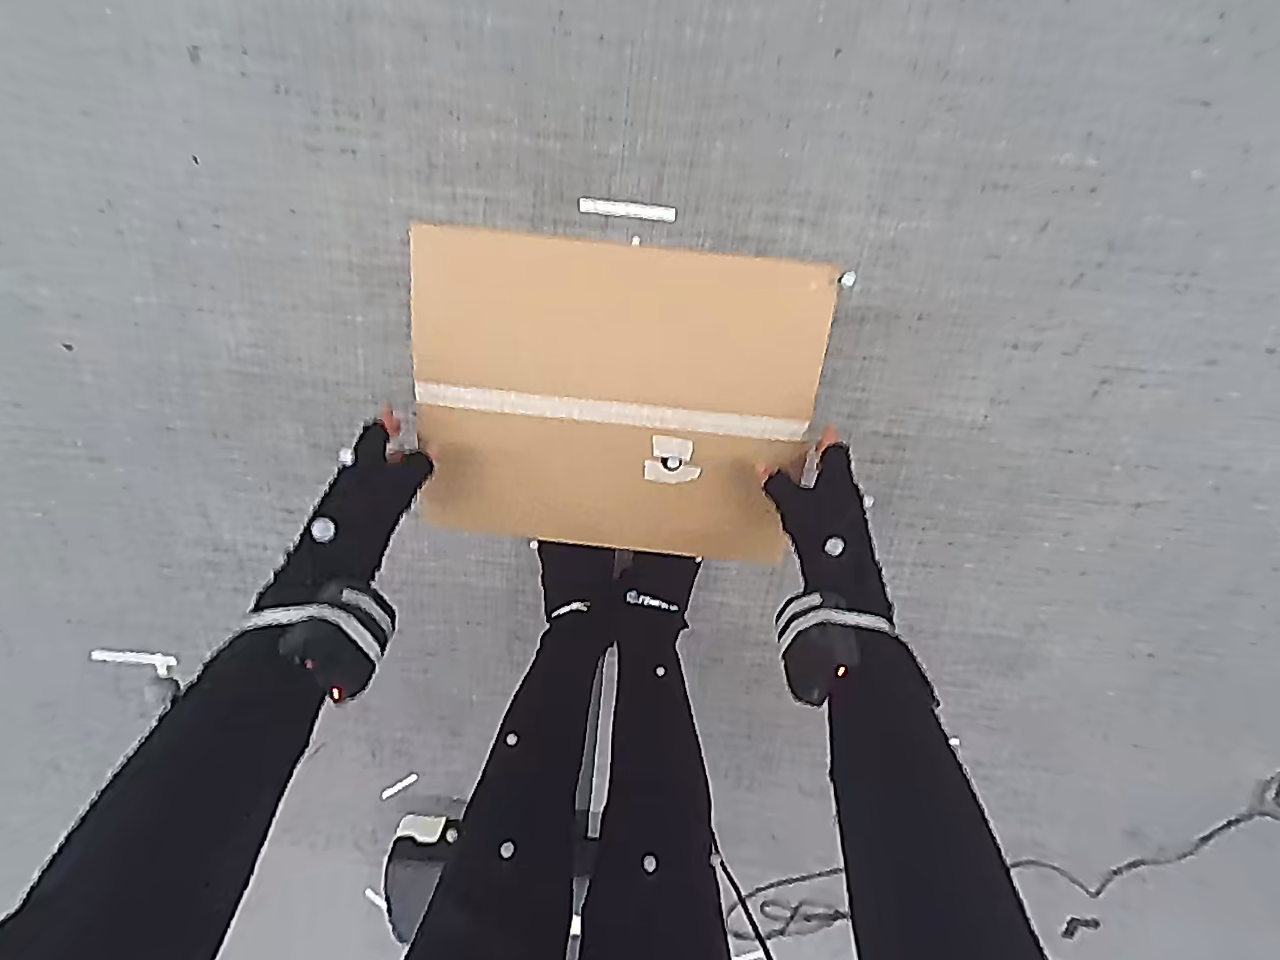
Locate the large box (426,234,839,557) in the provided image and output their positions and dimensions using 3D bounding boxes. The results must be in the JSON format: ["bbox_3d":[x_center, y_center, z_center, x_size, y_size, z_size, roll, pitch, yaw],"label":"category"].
[{"bbox_3d":[-0.016,-0.120,0.703,0.408,0.320,0.320,6,110,0],"label":"large box"}]
